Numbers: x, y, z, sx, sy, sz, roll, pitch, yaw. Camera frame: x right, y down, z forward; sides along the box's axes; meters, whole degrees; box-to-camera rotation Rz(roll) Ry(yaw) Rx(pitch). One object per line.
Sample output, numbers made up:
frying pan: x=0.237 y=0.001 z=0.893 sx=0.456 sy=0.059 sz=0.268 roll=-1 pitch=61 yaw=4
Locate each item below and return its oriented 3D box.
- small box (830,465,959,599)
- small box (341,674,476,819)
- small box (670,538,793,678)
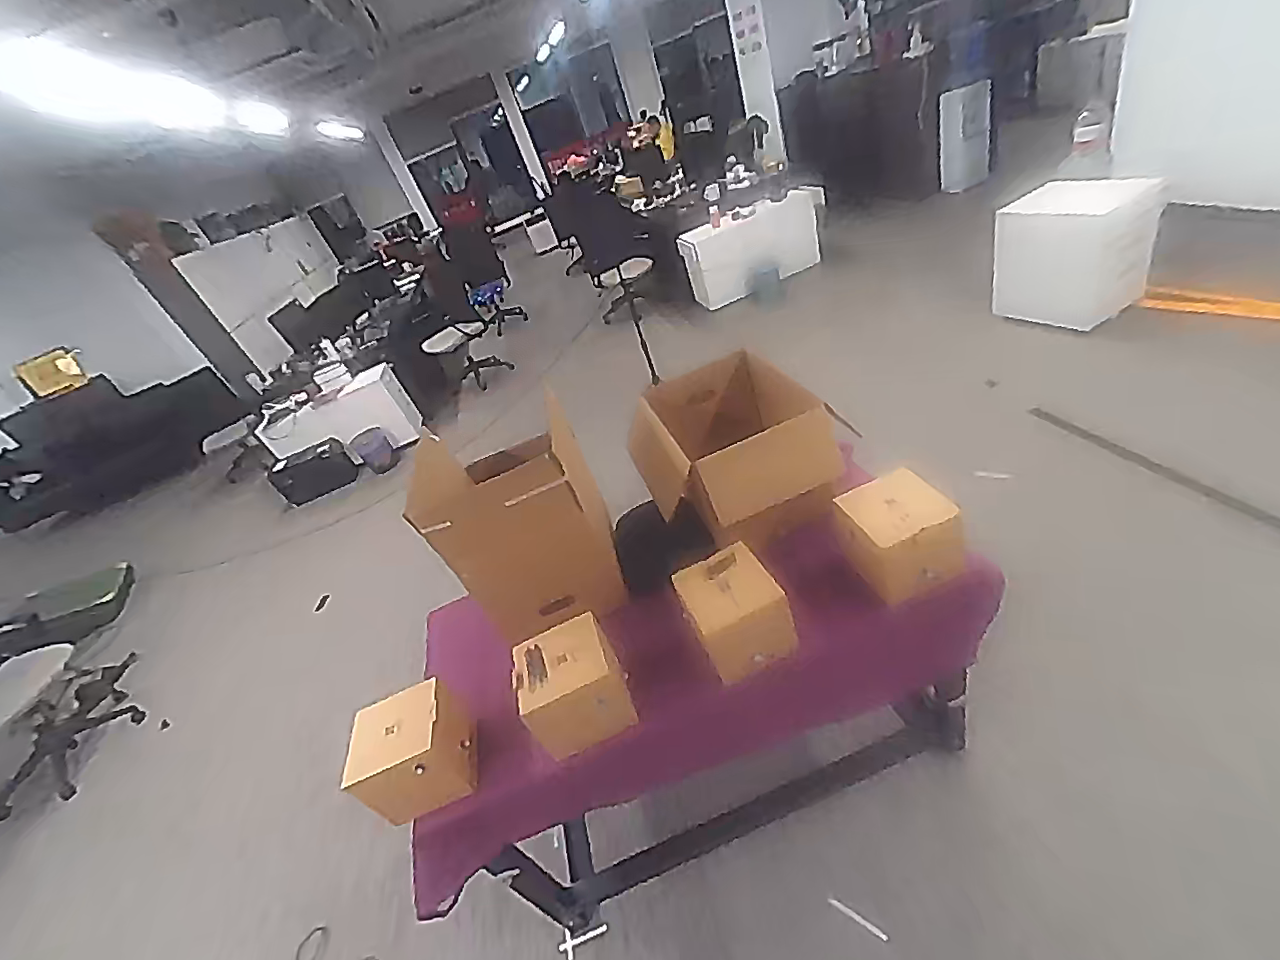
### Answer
small box: x=0.508 y=0.104 z=1.086 sx=0.168 sy=0.176 sz=0.179 roll=-25 pitch=34 yaw=0
small box: x=-0.445 y=0.527 z=1.068 sx=0.179 sy=0.176 sz=0.168 roll=-24 pitch=34 yaw=-3
small box: x=0.181 y=0.254 z=1.075 sx=0.168 sy=0.176 sz=0.179 roll=-27 pitch=35 yaw=-4
